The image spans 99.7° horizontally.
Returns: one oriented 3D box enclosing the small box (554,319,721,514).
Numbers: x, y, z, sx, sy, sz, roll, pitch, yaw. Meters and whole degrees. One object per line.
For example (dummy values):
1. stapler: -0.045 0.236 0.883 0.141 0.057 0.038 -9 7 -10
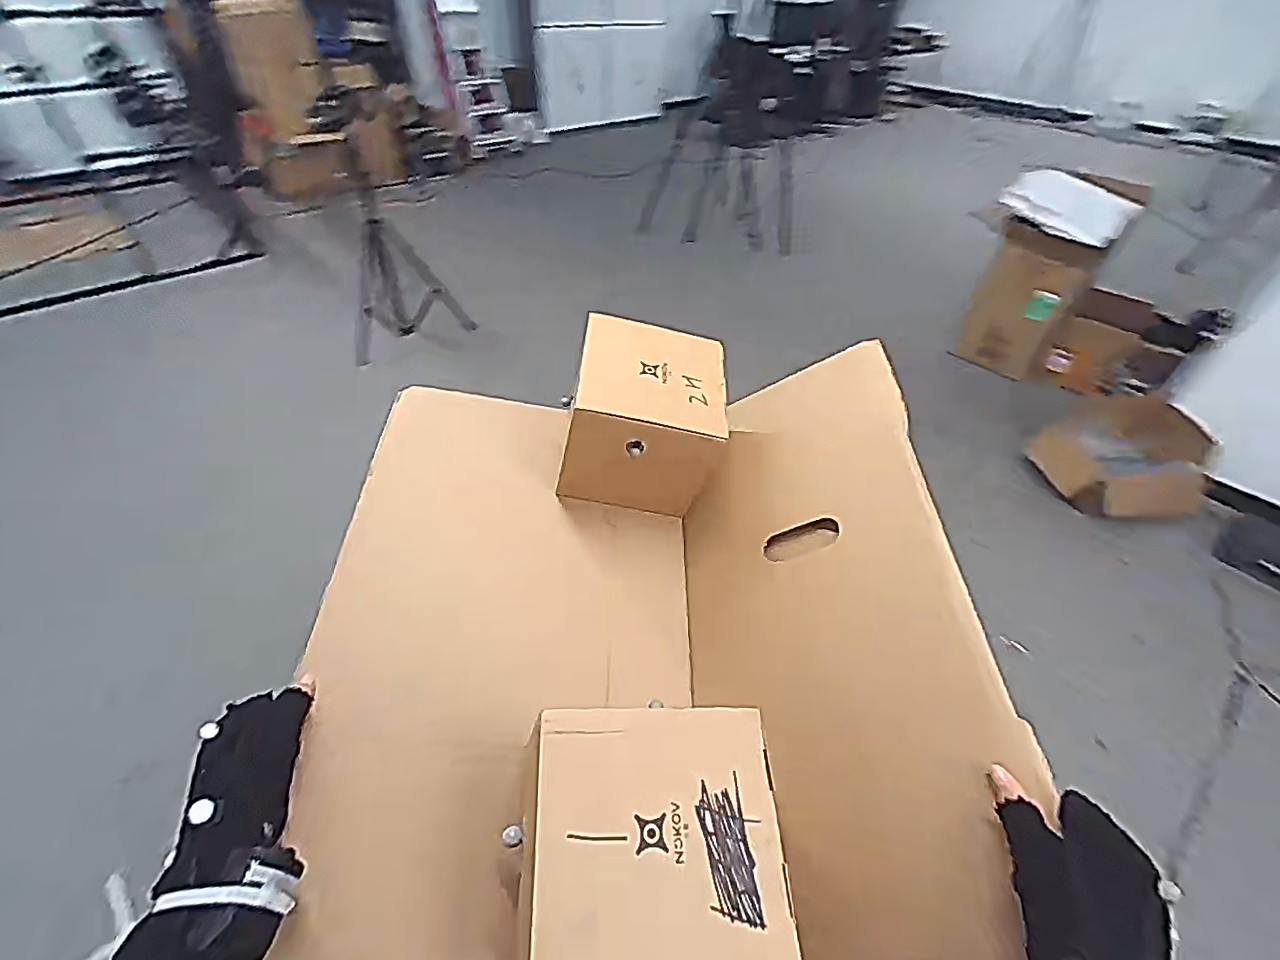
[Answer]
1. small box: -0.008 -0.074 0.696 0.179 0.176 0.168 11 53 -10
